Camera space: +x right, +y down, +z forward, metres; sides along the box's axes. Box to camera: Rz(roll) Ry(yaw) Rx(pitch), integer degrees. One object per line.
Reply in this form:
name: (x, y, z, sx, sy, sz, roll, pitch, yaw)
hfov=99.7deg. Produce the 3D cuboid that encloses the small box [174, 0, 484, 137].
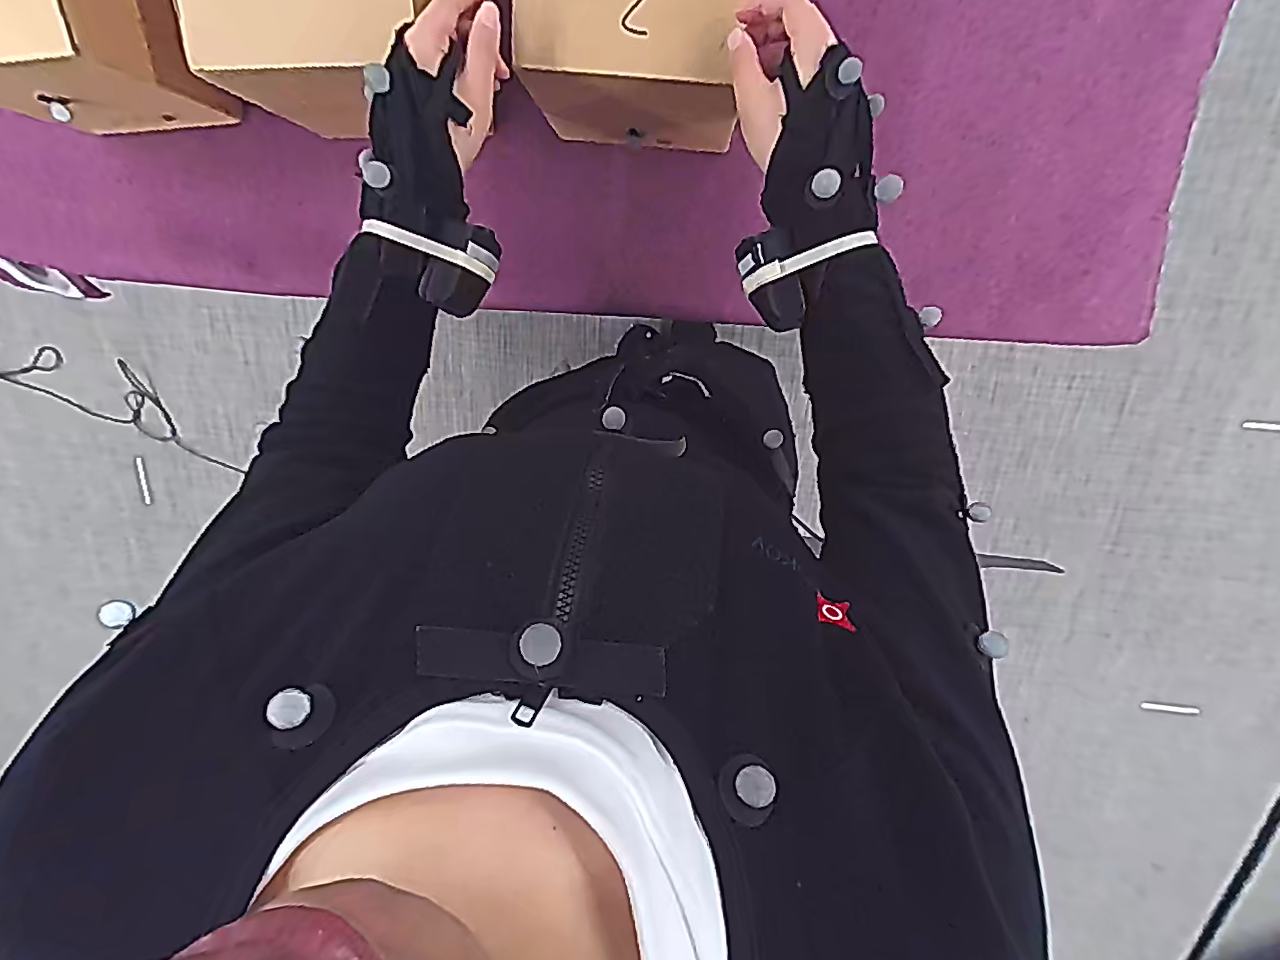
small box: (-0.236, -0.397, 0.438, 0.179, 0.176, 0.168, 1, 107, 3)

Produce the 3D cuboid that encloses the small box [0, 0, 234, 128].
small box: (-0.491, -0.416, 0.452, 0.168, 0.176, 0.179, -2, 107, 4)
